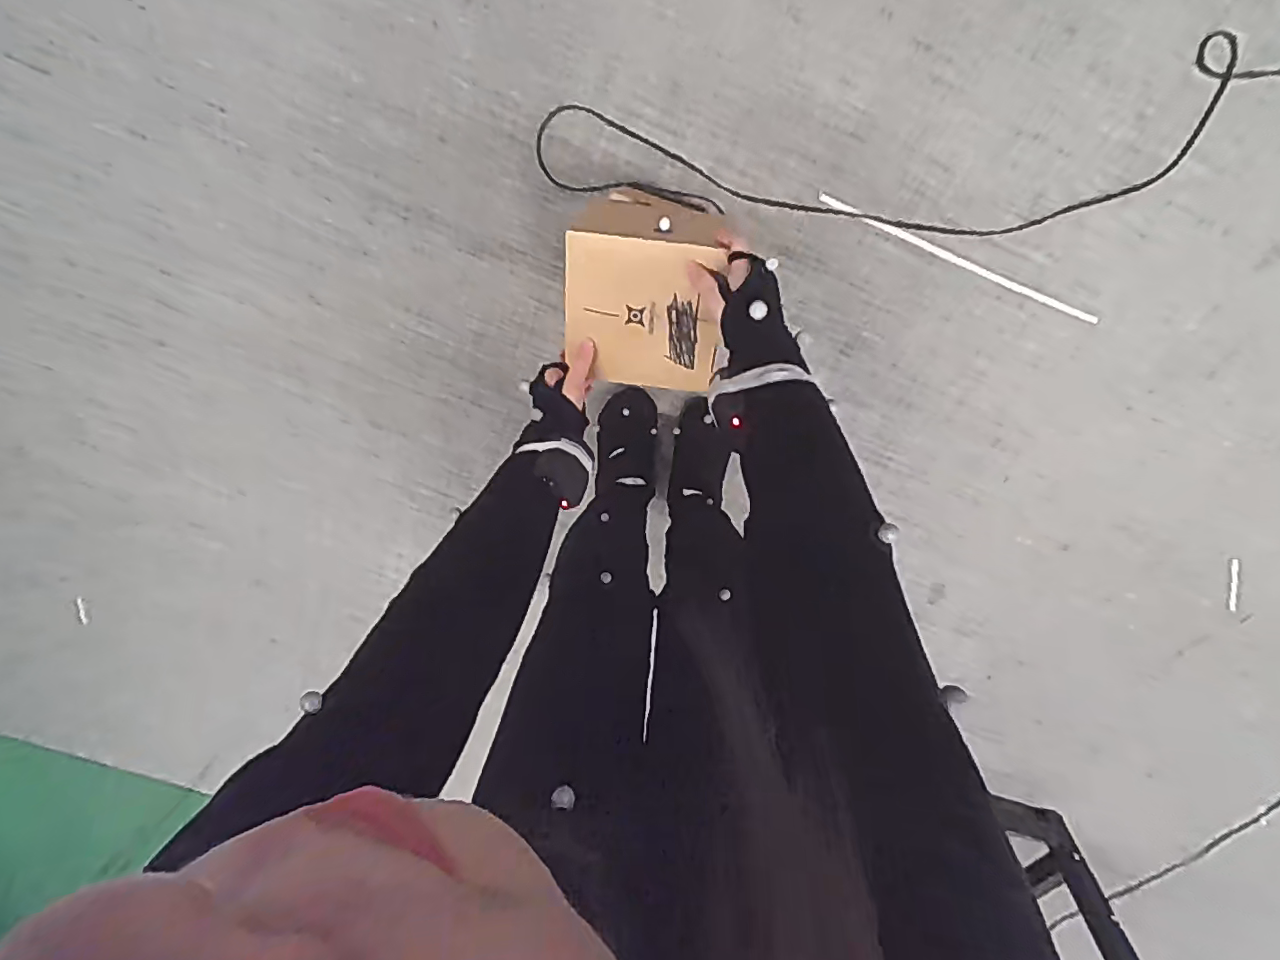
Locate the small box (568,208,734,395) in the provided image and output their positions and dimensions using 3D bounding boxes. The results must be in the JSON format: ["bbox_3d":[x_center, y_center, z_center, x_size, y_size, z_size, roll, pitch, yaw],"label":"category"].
[{"bbox_3d":[0.013,-0.225,0.669,0.179,0.176,0.168,8,127,2],"label":"small box"}]
